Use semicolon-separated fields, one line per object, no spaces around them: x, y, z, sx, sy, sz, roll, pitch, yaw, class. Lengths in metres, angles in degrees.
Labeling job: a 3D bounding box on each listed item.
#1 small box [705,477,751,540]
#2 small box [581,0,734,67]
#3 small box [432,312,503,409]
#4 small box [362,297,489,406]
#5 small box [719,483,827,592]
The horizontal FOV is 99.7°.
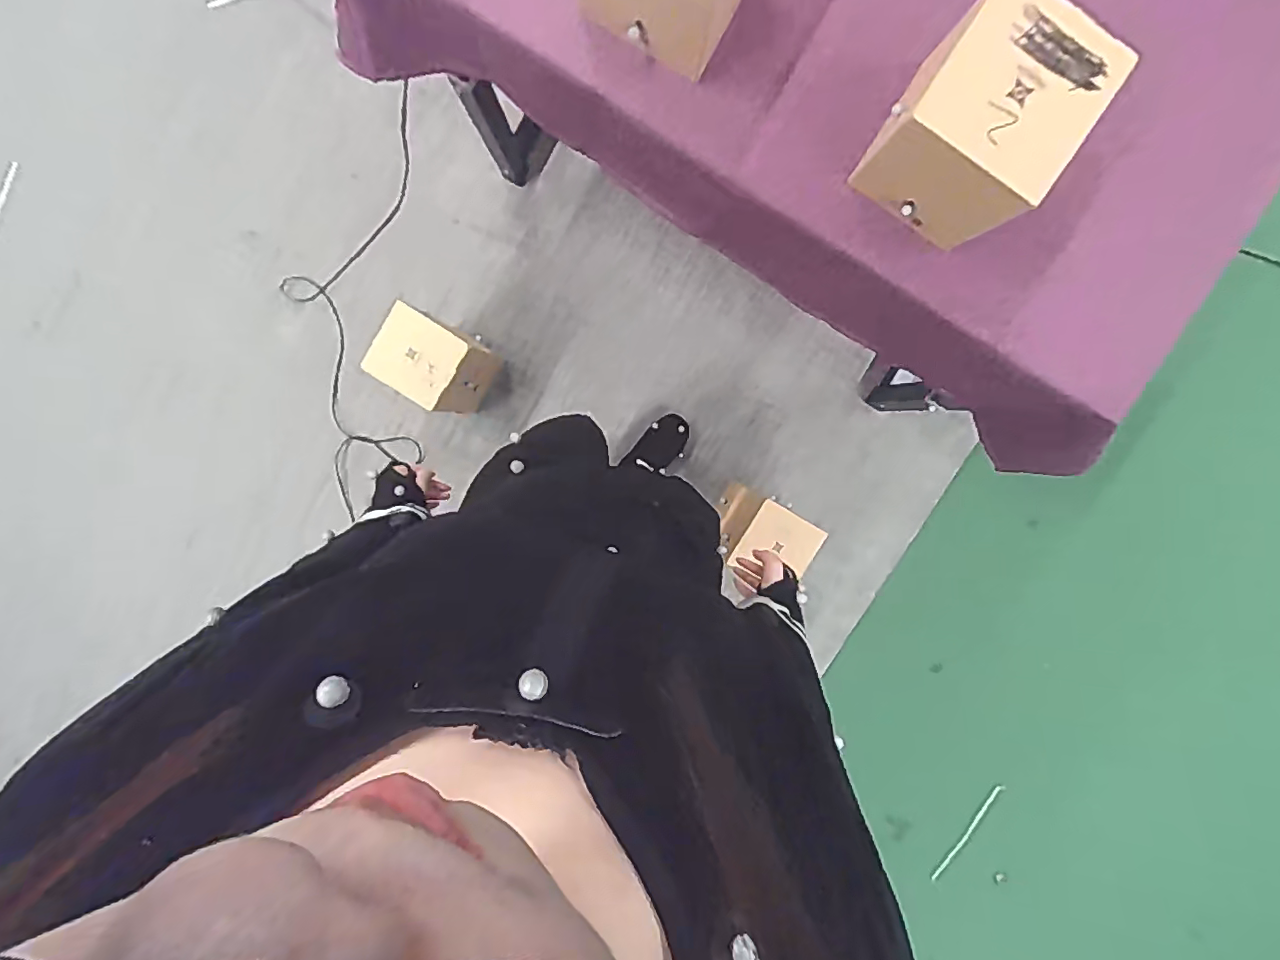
0.290;0.102;1.439;0.179;0.176;0.168;28;97;-5;small box
0.039;-0.612;0.598;0.179;0.176;0.168;28;96;-6;small box
-0.468;-0.293;1.368;0.168;0.176;0.179;31;95;-5;small box
-0.467;-0.275;1.205;0.179;0.176;0.168;32;96;-6;small box
0.302;0.128;1.279;0.168;0.176;0.179;31;96;-7;small box
